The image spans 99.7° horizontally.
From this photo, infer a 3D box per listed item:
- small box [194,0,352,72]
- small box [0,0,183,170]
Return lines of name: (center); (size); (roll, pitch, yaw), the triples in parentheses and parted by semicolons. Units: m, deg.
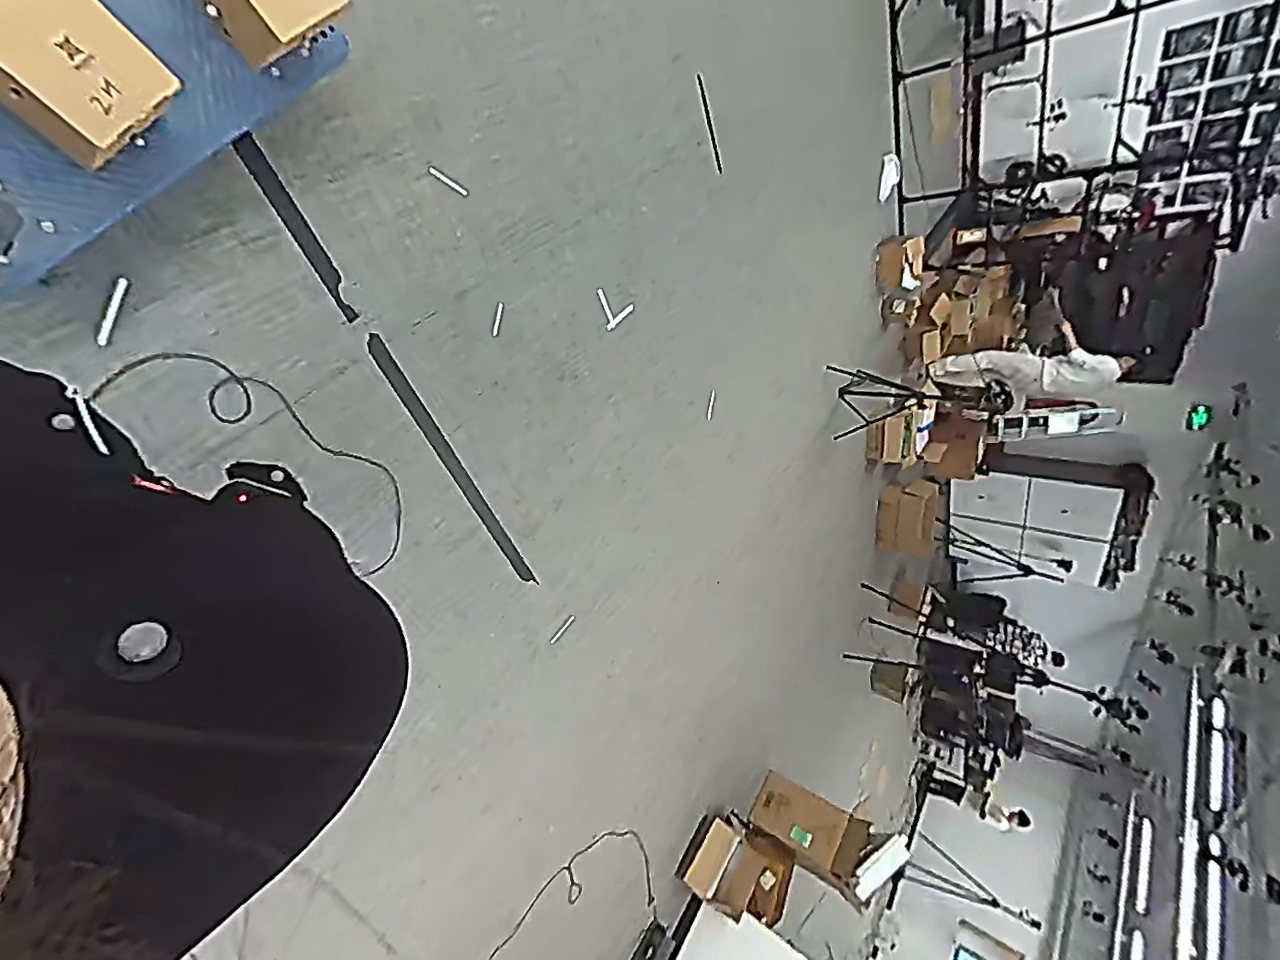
small box: (-0.667, -0.874, 0.961); (0.179, 0.176, 0.168); (-57, 137, -22)
small box: (-0.850, -0.603, 0.808); (0.179, 0.176, 0.168); (49, 62, -44)
